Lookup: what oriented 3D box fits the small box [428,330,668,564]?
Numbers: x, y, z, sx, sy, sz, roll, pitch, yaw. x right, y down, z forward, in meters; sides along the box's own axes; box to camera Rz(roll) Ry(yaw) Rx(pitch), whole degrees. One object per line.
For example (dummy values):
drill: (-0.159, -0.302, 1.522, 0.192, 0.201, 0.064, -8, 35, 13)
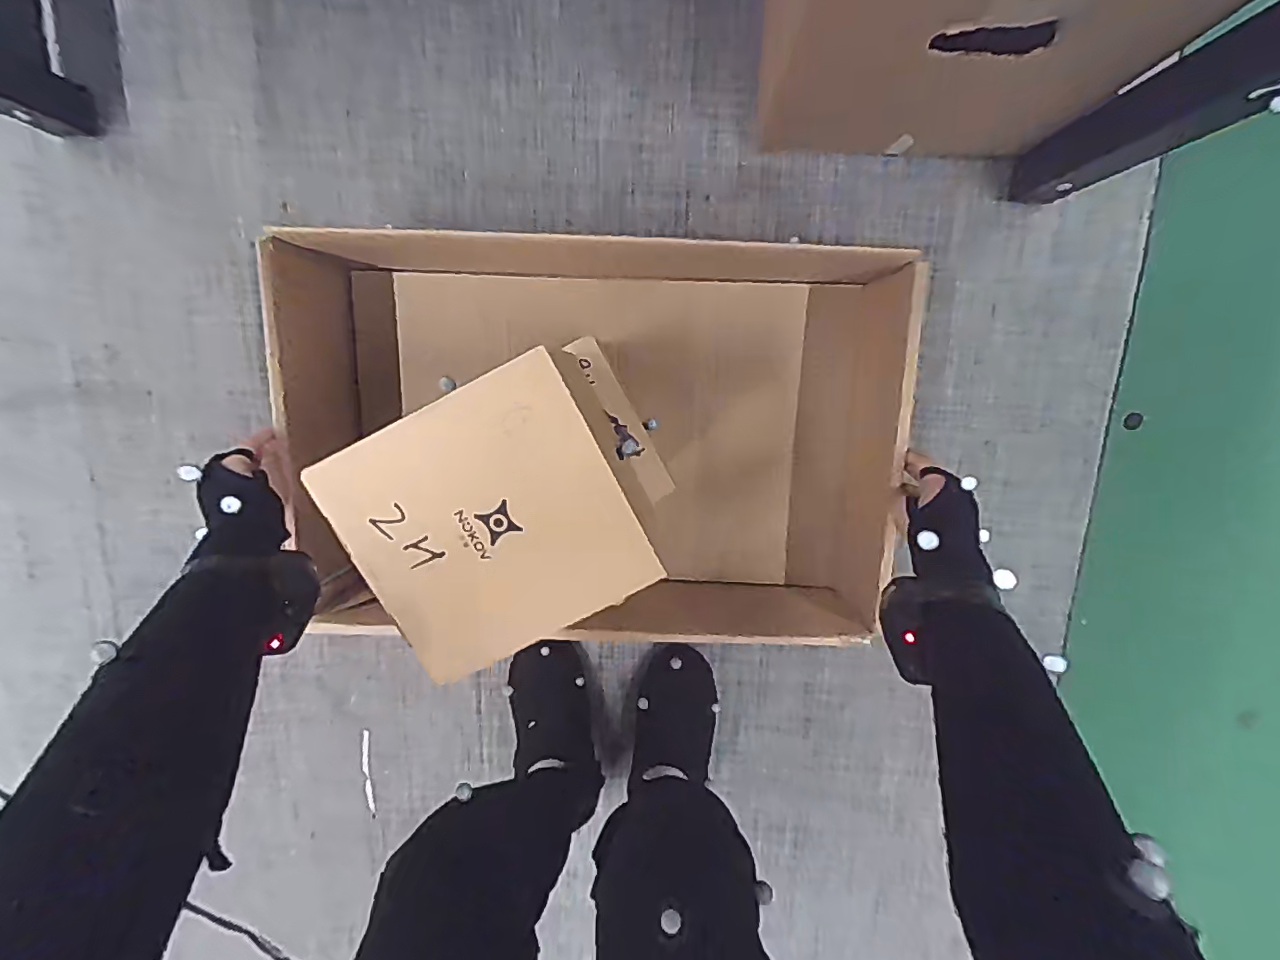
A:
small box: (-0.081, -0.040, 0.576, 0.179, 0.176, 0.168, -27, 100, 7)
